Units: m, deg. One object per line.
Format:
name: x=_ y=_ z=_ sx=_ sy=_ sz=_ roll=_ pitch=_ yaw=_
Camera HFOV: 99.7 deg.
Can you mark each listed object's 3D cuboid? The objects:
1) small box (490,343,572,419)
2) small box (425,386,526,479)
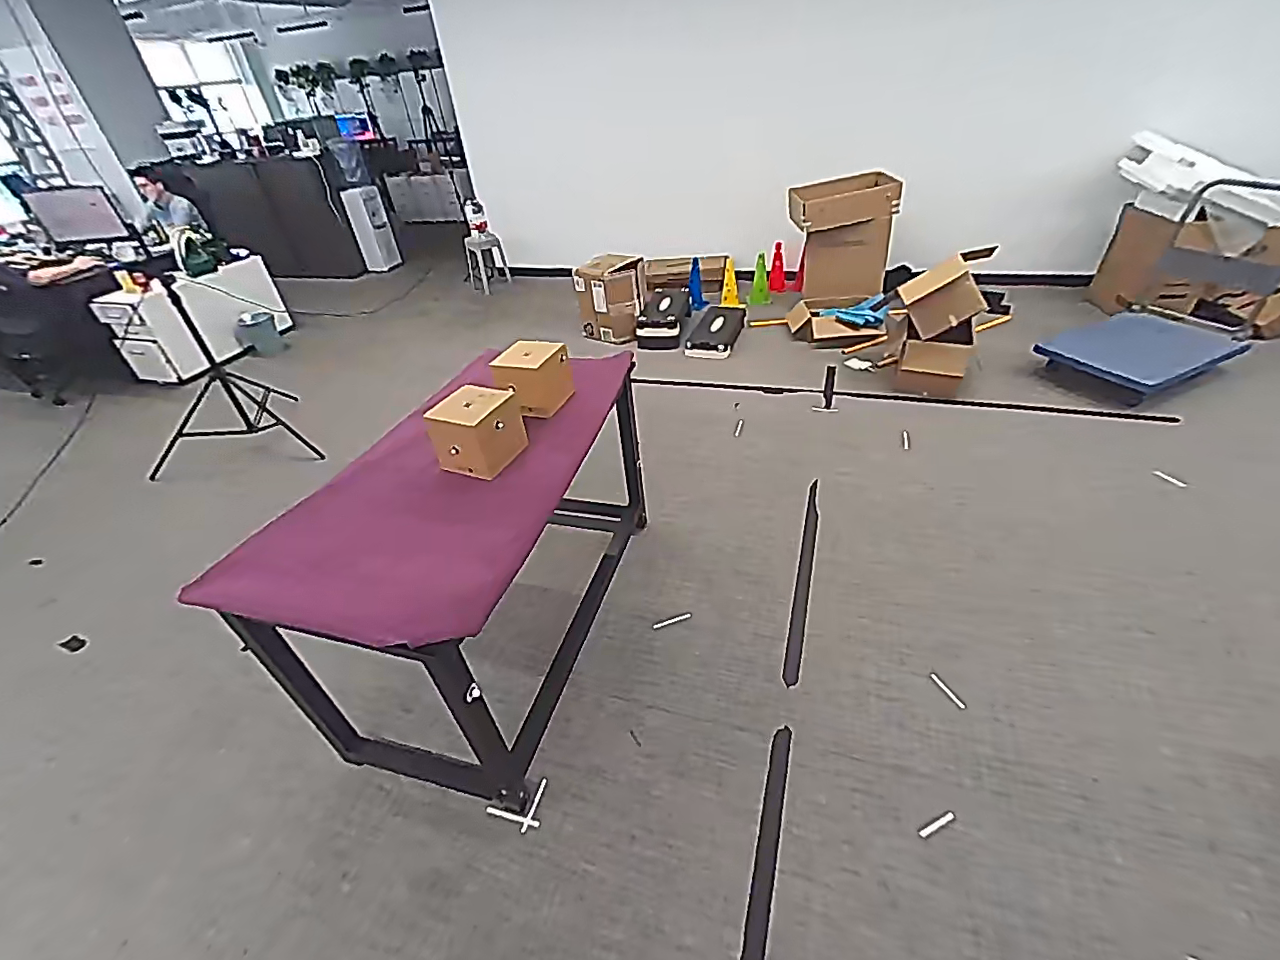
small box: x=-0.320 y=-0.300 z=1.640 sx=0.168 sy=0.176 sz=0.179 roll=8 pitch=39 yaw=20
small box: x=-0.421 y=-0.124 z=1.419 sx=0.168 sy=0.176 sz=0.179 roll=12 pitch=40 yaw=22
